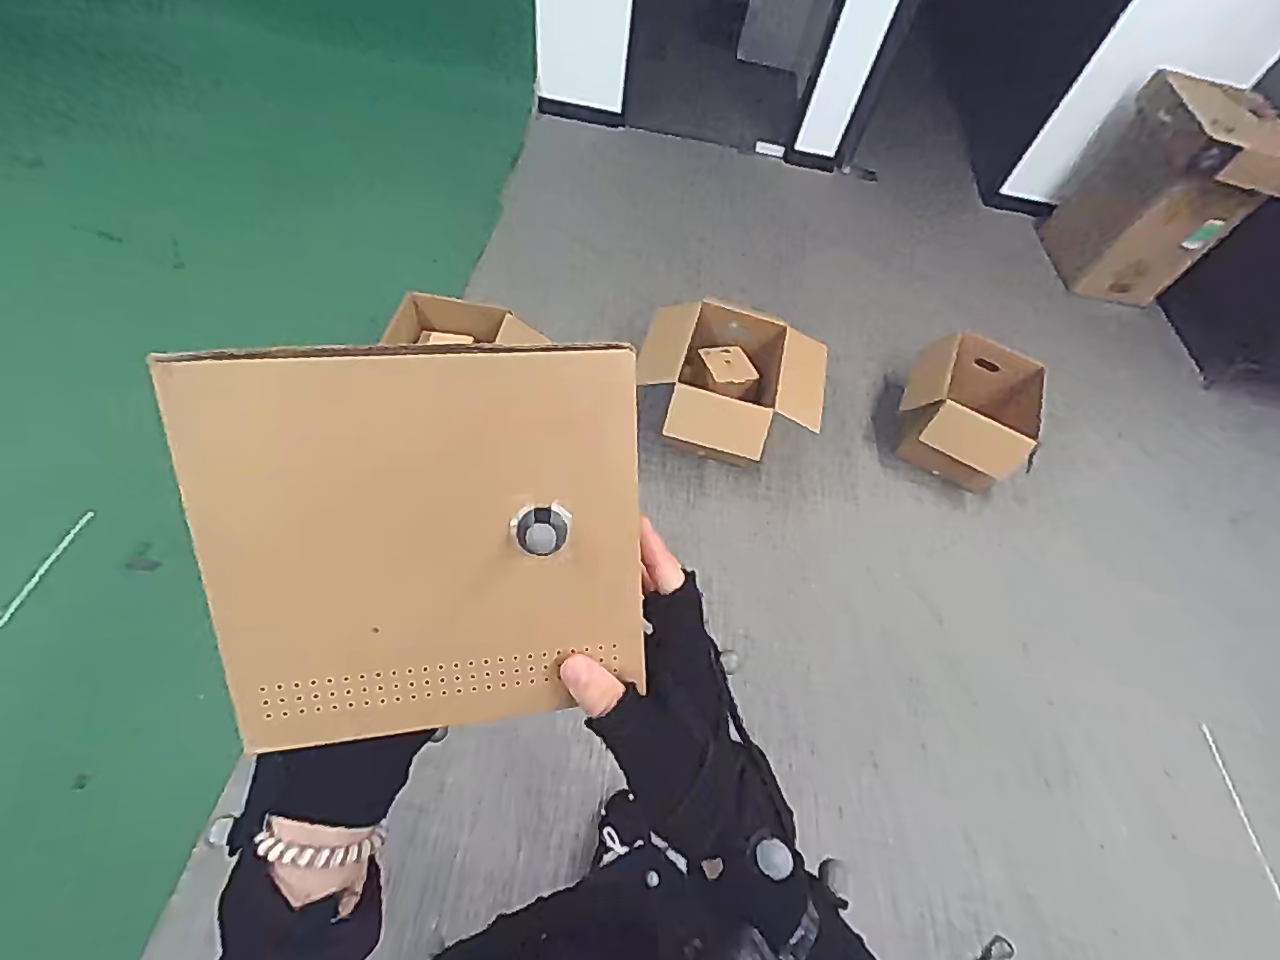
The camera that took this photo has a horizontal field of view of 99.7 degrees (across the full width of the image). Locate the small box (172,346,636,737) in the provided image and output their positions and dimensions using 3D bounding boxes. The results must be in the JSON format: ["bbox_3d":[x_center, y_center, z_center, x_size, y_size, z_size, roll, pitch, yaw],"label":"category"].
[{"bbox_3d":[-0.100,0.014,0.308,0.179,0.176,0.168,-5,14,-10],"label":"small box"}]
